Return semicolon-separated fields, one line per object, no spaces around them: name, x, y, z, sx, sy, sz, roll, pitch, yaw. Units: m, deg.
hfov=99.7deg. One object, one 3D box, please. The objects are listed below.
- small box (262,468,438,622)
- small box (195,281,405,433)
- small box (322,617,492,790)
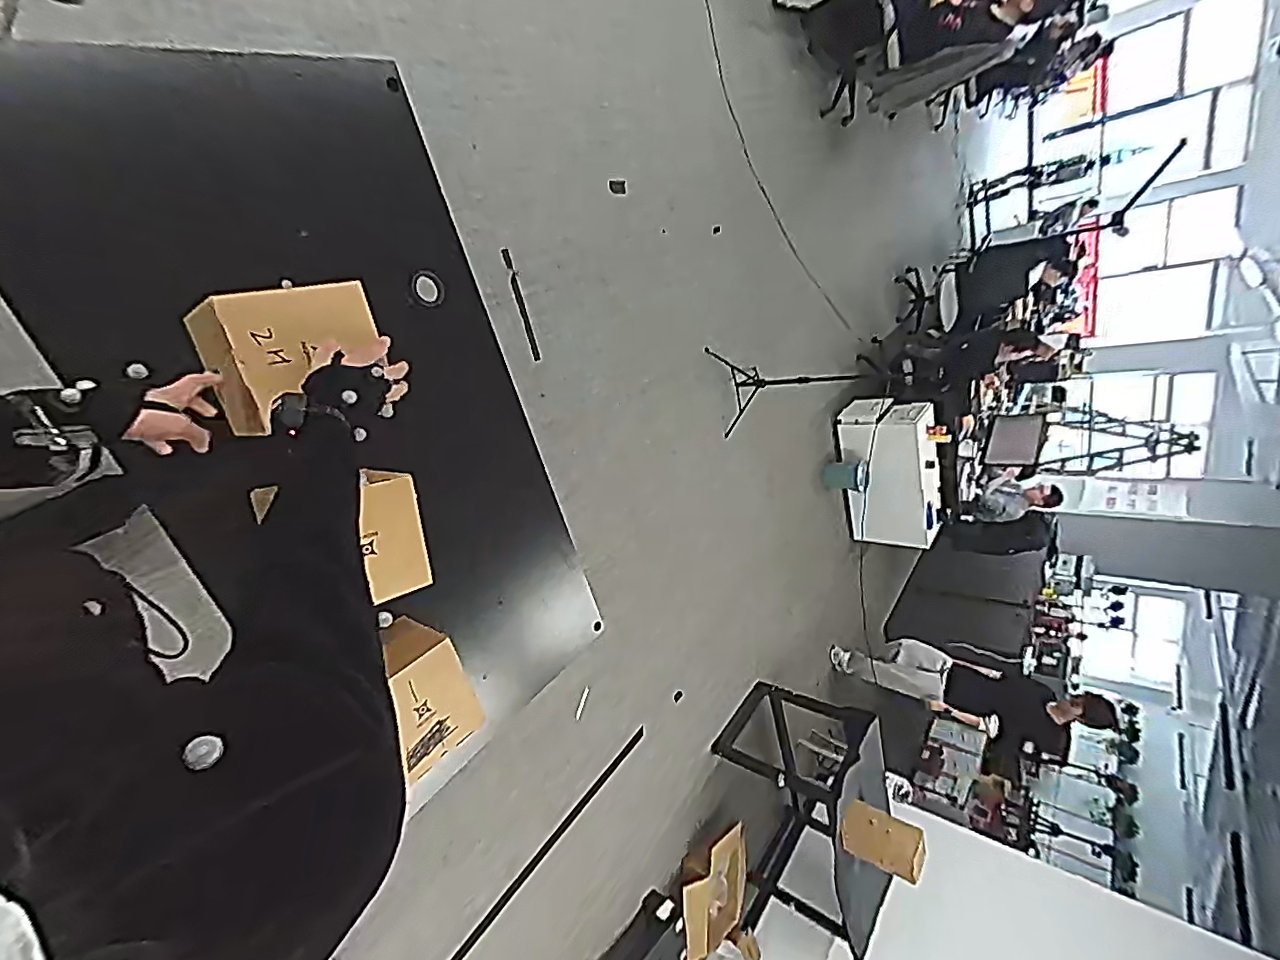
small box;-0.431;0.084;0.808;0.168;0.176;0.179;-20;107;-46
small box;-0.466;-0.168;0.747;0.179;0.176;0.168;-29;113;-42
small box;-0.379;0.350;0.883;0.168;0.176;0.179;-34;116;-42
